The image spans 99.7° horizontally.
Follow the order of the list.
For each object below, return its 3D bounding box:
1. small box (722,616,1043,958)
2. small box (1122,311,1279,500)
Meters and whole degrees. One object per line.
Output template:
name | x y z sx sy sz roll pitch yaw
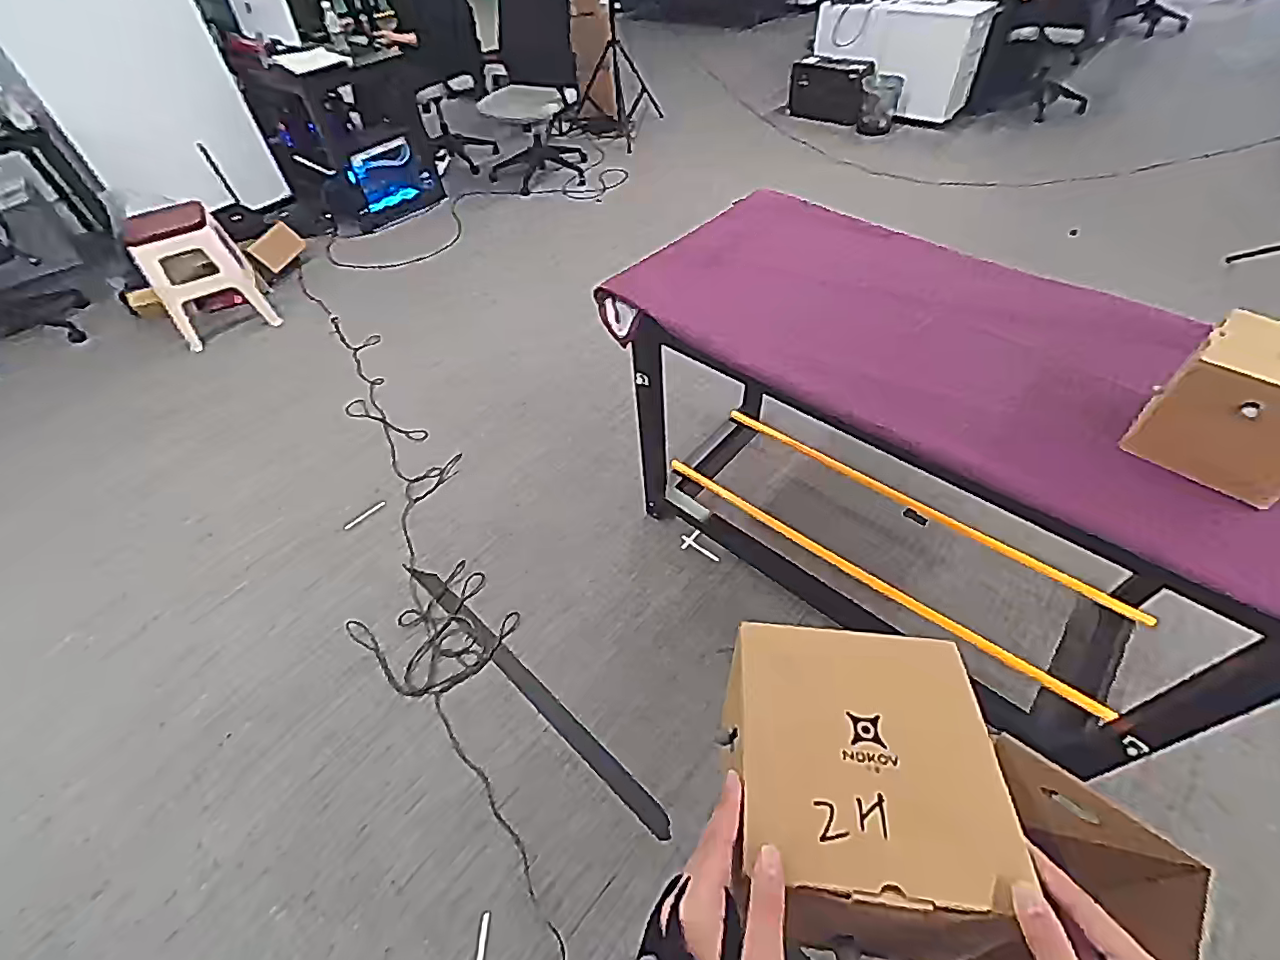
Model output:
small box | 0.153 0.232 0.418 0.168 0.176 0.179 4 43 6
small box | 0.835 -0.097 0.745 0.168 0.176 0.179 -36 55 -25
